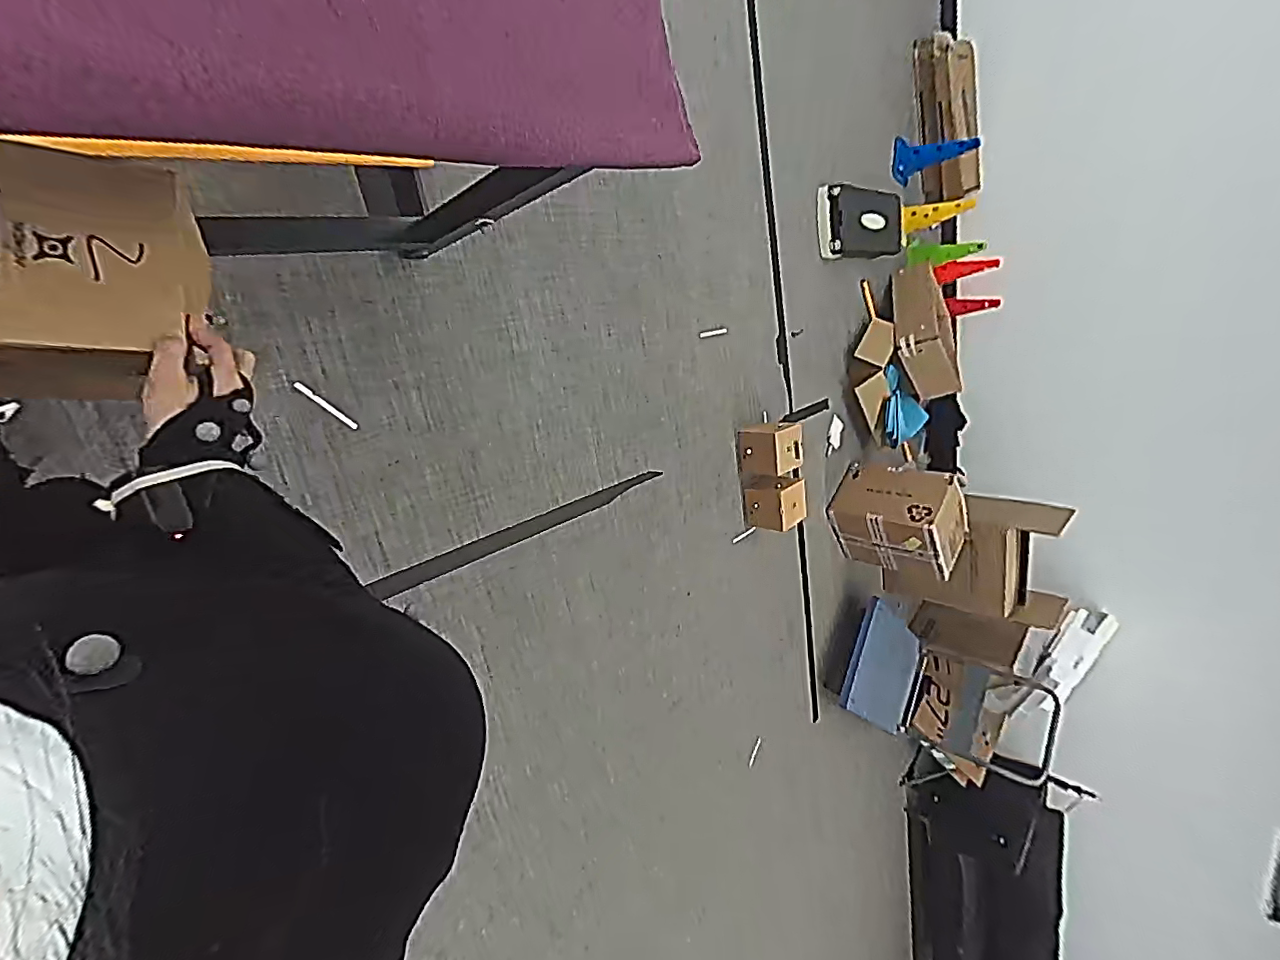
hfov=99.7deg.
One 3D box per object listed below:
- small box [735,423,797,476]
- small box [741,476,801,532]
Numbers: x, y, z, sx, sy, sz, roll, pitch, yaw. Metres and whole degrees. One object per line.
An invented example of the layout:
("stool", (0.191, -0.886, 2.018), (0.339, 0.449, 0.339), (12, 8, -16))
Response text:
("small box", (0.487, -0.124, 2.088), (0.179, 0.176, 0.168), (-20, 110, -40))
("small box", (0.523, 0.089, 2.159), (0.179, 0.176, 0.168), (-23, 112, -40))
